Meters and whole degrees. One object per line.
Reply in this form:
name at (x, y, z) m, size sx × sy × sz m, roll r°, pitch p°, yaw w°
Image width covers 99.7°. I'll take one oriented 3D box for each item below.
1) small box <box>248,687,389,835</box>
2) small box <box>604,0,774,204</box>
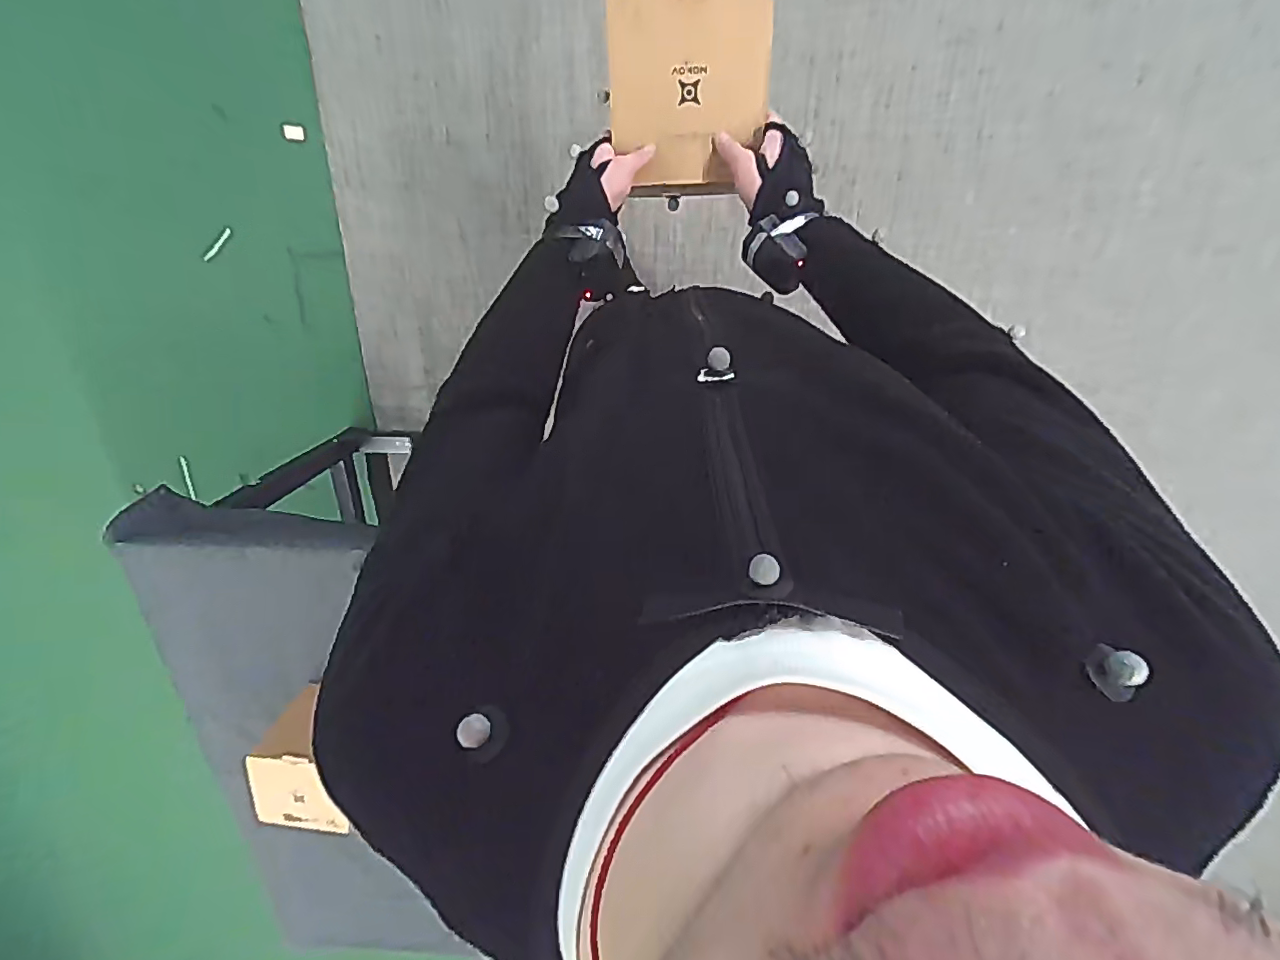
small box at (-0.589, 0.518, 1.014) m, size 0.168 × 0.176 × 0.179 m, roll 10°, pitch 112°, yaw -1°
small box at (0.047, -0.421, 0.615) m, size 0.168 × 0.176 × 0.179 m, roll 1°, pitch 113°, yaw 3°
